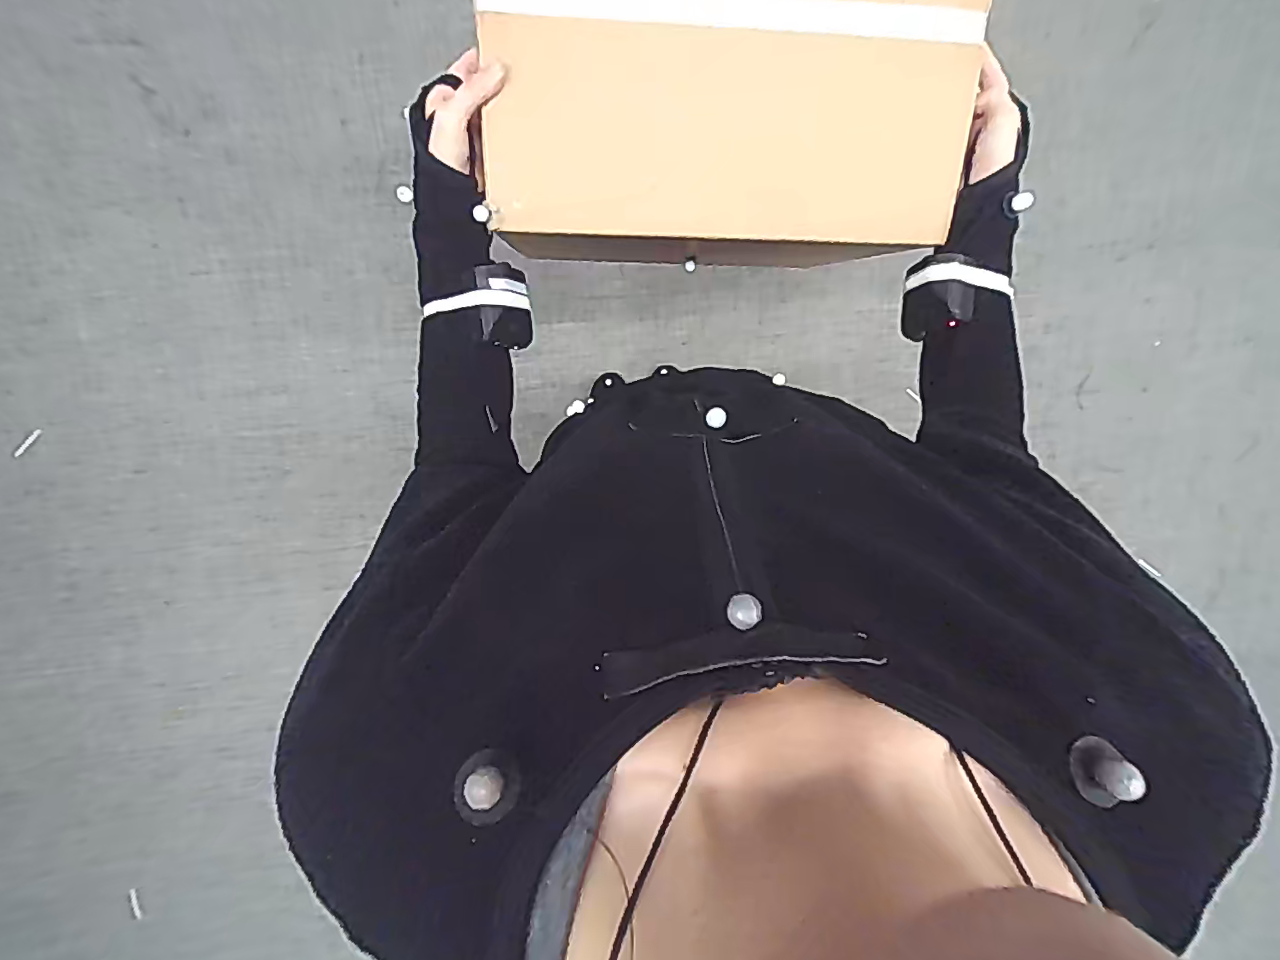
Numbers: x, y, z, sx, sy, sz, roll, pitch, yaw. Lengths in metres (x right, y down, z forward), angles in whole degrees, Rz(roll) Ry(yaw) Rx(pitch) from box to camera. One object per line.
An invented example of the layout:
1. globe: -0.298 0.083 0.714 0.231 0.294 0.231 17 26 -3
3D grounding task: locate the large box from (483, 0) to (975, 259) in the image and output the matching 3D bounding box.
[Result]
1. large box: 0.065 -0.409 0.576 0.408 0.320 0.320 -1 107 -5
